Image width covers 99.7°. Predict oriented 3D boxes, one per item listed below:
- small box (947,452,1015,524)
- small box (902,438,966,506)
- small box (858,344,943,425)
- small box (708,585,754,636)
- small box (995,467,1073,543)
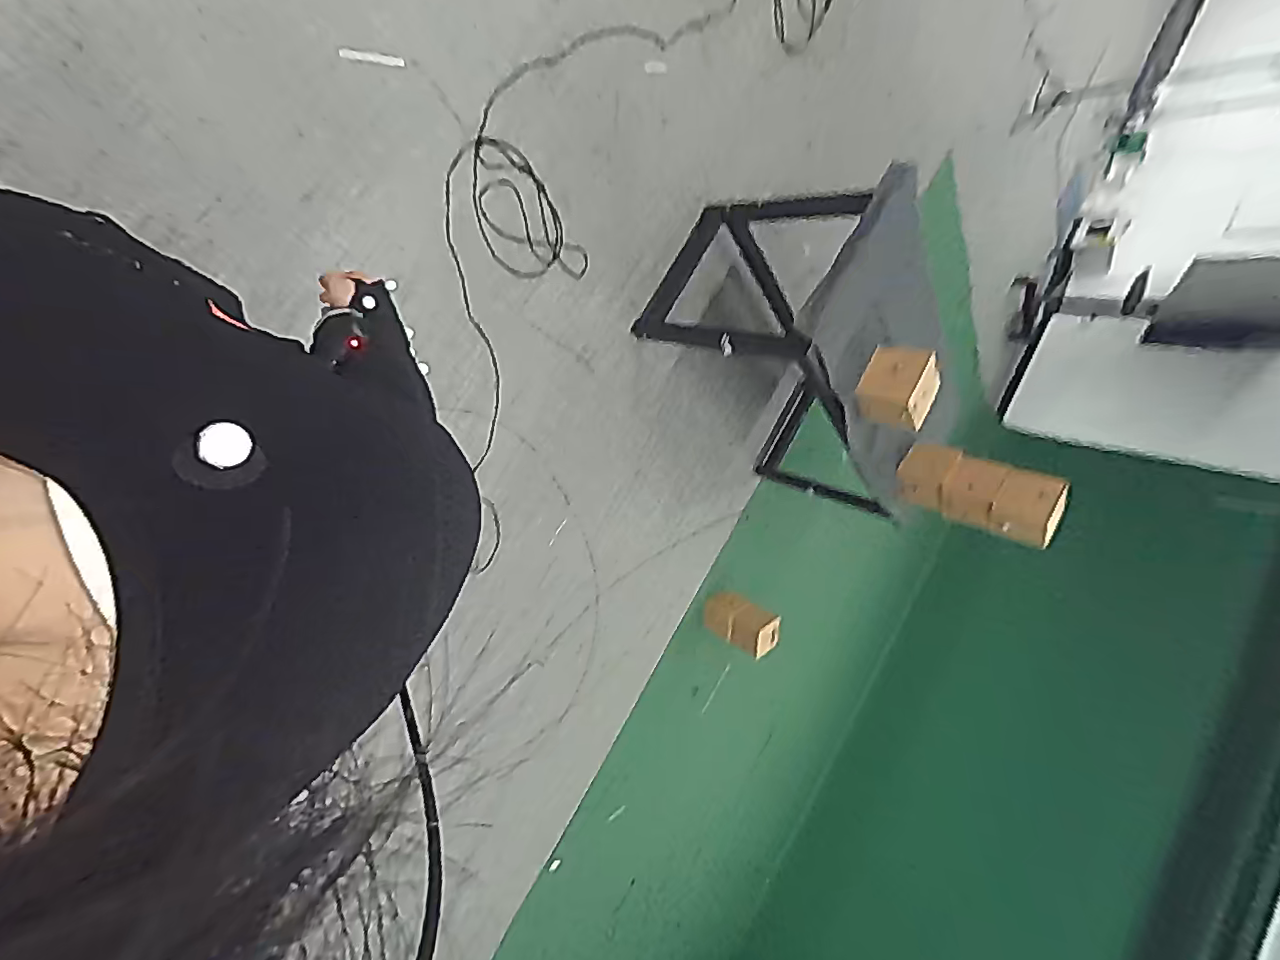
[{"bbox_3d":[1.226,0.025,1.953,0.179,0.176,0.168,-50,135,-20],"label":"small box"},{"bbox_3d":[1.112,-0.035,2.052,0.179,0.176,0.168,-46,133,-24],"label":"small box"},{"bbox_3d":[0.791,-0.296,1.642,0.168,0.176,0.179,38,78,-46],"label":"small box"},{"bbox_3d":[0.467,0.668,2.783,0.179,0.176,0.168,-21,120,-38],"label":"small box"},{"bbox_3d":[1.338,0.078,1.845,0.179,0.176,0.168,-53,135,-15],"label":"small box"}]
